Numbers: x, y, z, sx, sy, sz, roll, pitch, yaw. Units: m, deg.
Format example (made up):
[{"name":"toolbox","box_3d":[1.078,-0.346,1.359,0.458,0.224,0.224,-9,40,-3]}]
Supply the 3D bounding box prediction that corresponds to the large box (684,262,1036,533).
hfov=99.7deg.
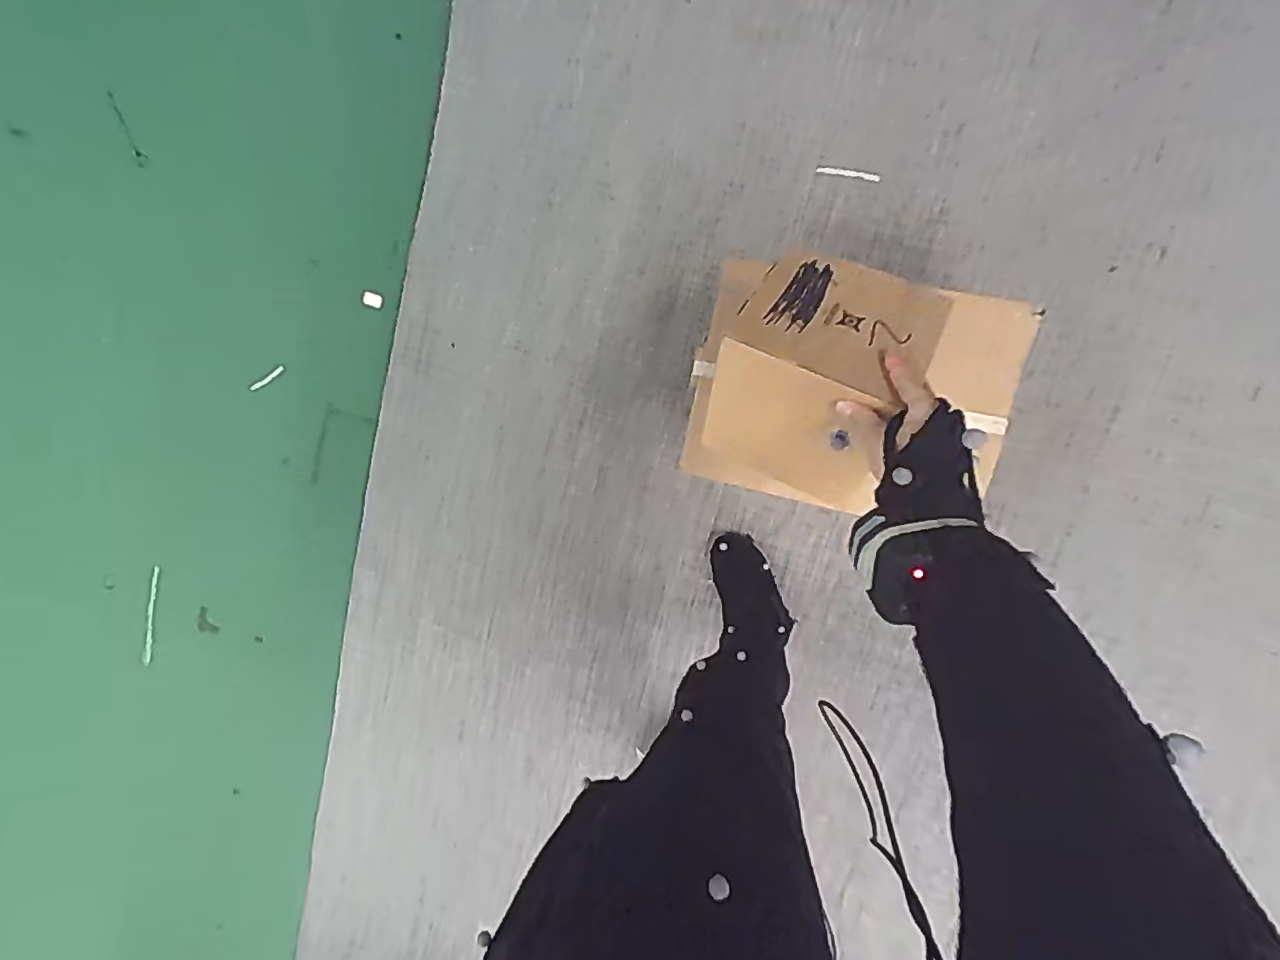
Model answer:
[{"name":"large box","box_3d":[0.313,-0.133,0.883,0.408,0.320,0.320,14,100,12]}]
